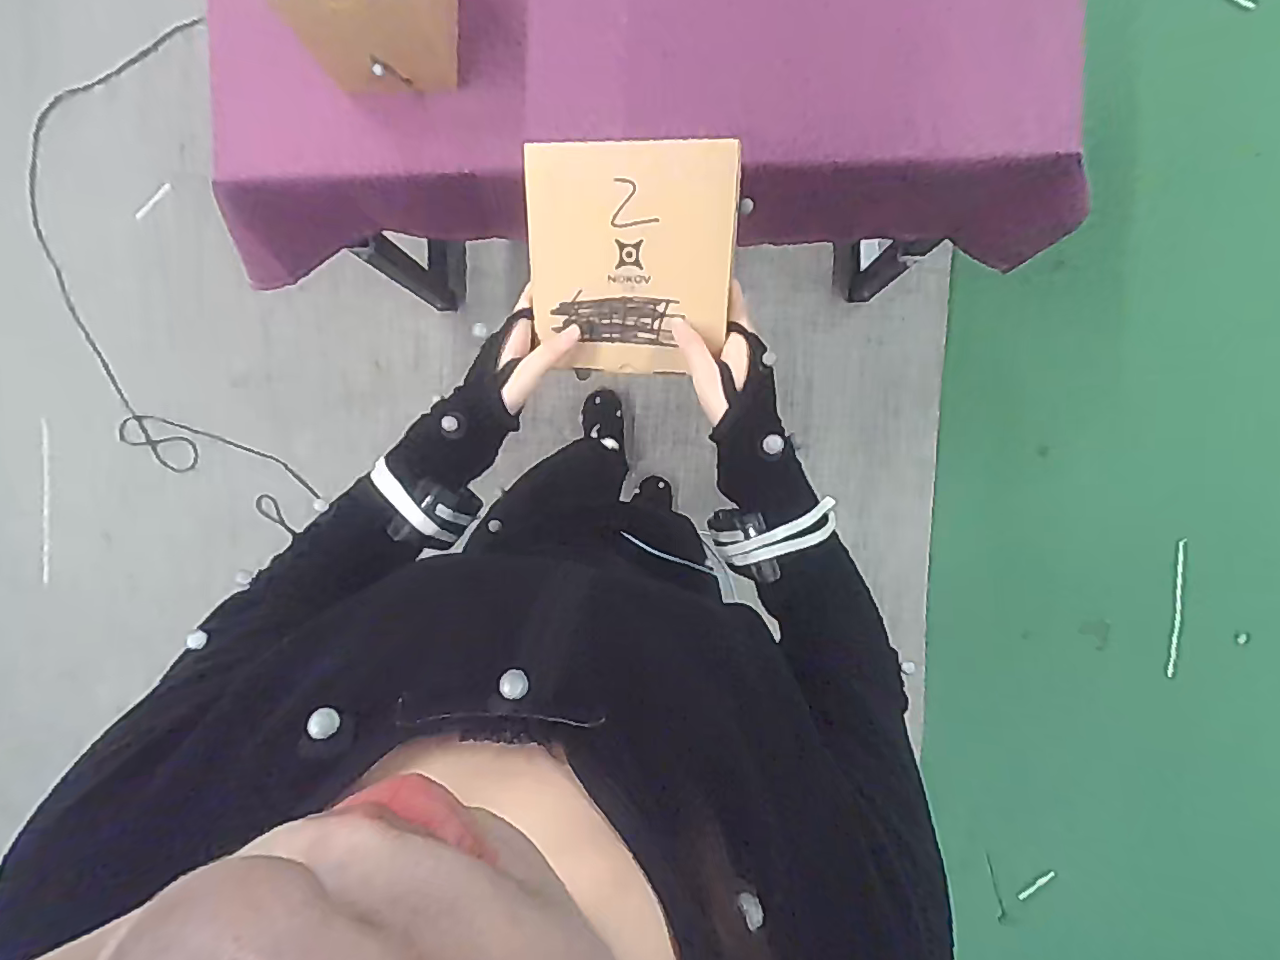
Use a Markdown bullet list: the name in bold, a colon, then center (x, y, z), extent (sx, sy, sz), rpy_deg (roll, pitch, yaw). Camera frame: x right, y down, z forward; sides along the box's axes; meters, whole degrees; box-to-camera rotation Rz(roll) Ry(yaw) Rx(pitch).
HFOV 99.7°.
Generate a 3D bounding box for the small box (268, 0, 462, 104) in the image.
- **small box**: center (-0.335, -0.618, 0.681), extent (0.168, 0.176, 0.179), rpy_deg (1, 91, 3)
